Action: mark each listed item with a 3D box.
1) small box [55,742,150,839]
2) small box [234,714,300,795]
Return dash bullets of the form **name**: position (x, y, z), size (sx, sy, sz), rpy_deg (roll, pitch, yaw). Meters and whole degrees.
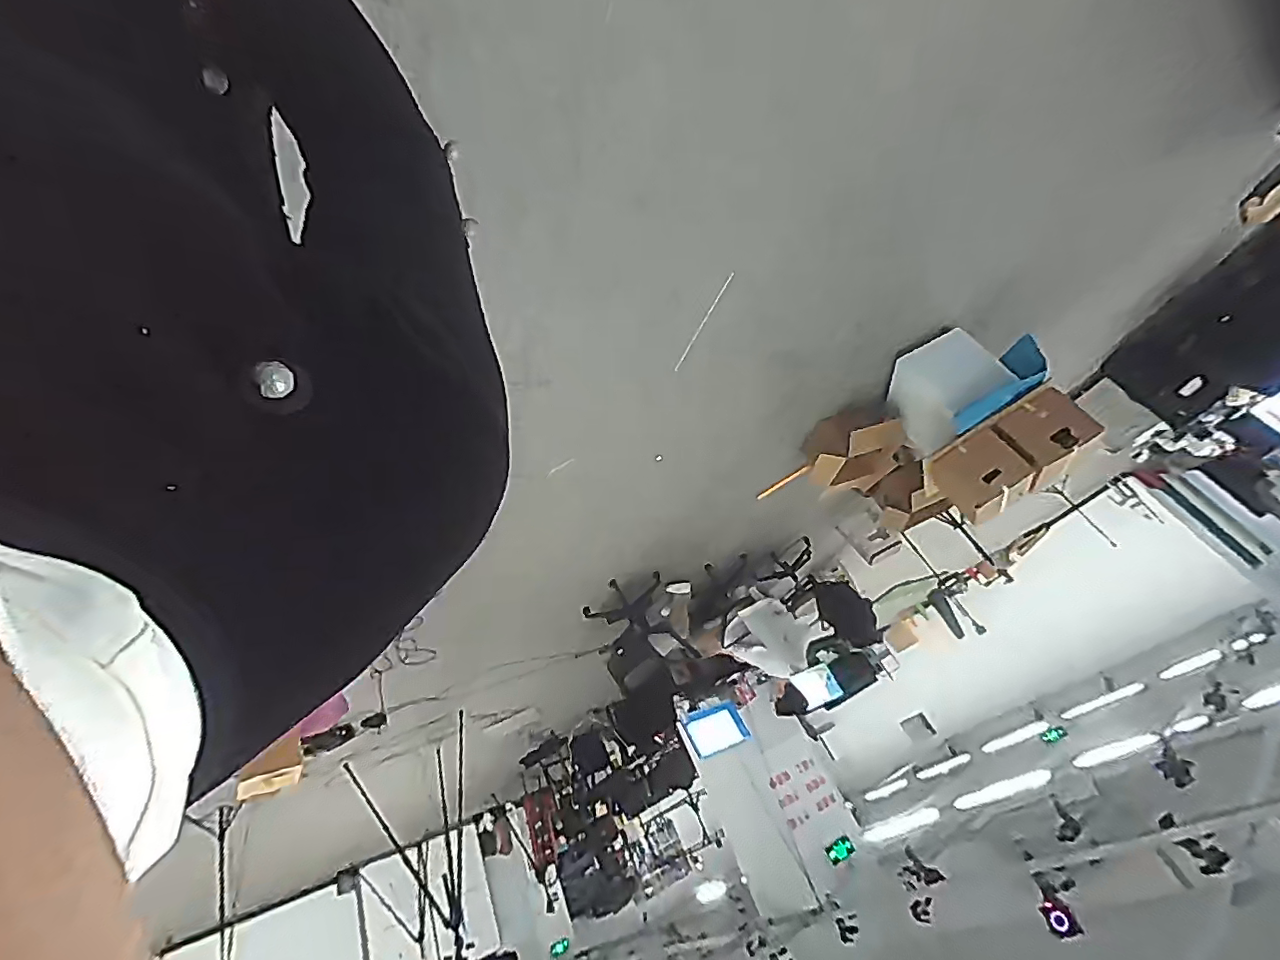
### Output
- **small box**: position (-1.491, 0.861, 1.511), size (0.168, 0.176, 0.179), rpy_deg (-2, 140, -37)
- **small box**: position (-1.210, 0.878, 1.748), size (0.168, 0.176, 0.179), rpy_deg (1, 138, -38)
